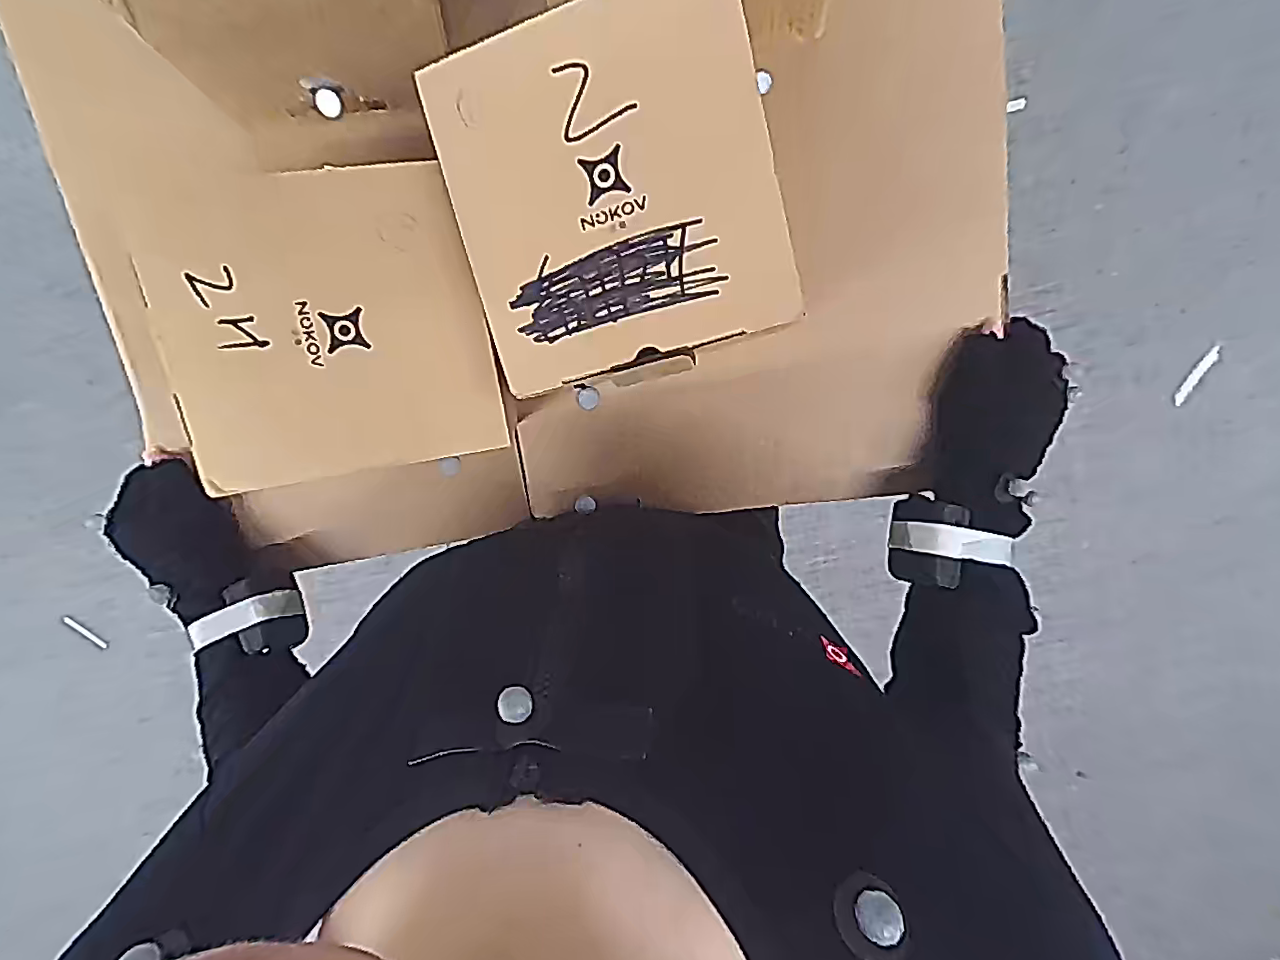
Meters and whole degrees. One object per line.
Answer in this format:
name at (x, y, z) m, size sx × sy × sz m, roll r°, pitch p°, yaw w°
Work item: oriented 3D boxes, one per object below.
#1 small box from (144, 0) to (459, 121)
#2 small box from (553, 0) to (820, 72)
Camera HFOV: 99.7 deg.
small box at (-0.220, -0.359, 0.332) m, size 0.168 × 0.176 × 0.179 m, roll -11°, pitch 103°, yaw -9°
small box at (0.021, -0.370, 0.304) m, size 0.168 × 0.176 × 0.179 m, roll -5°, pitch 101°, yaw 11°
